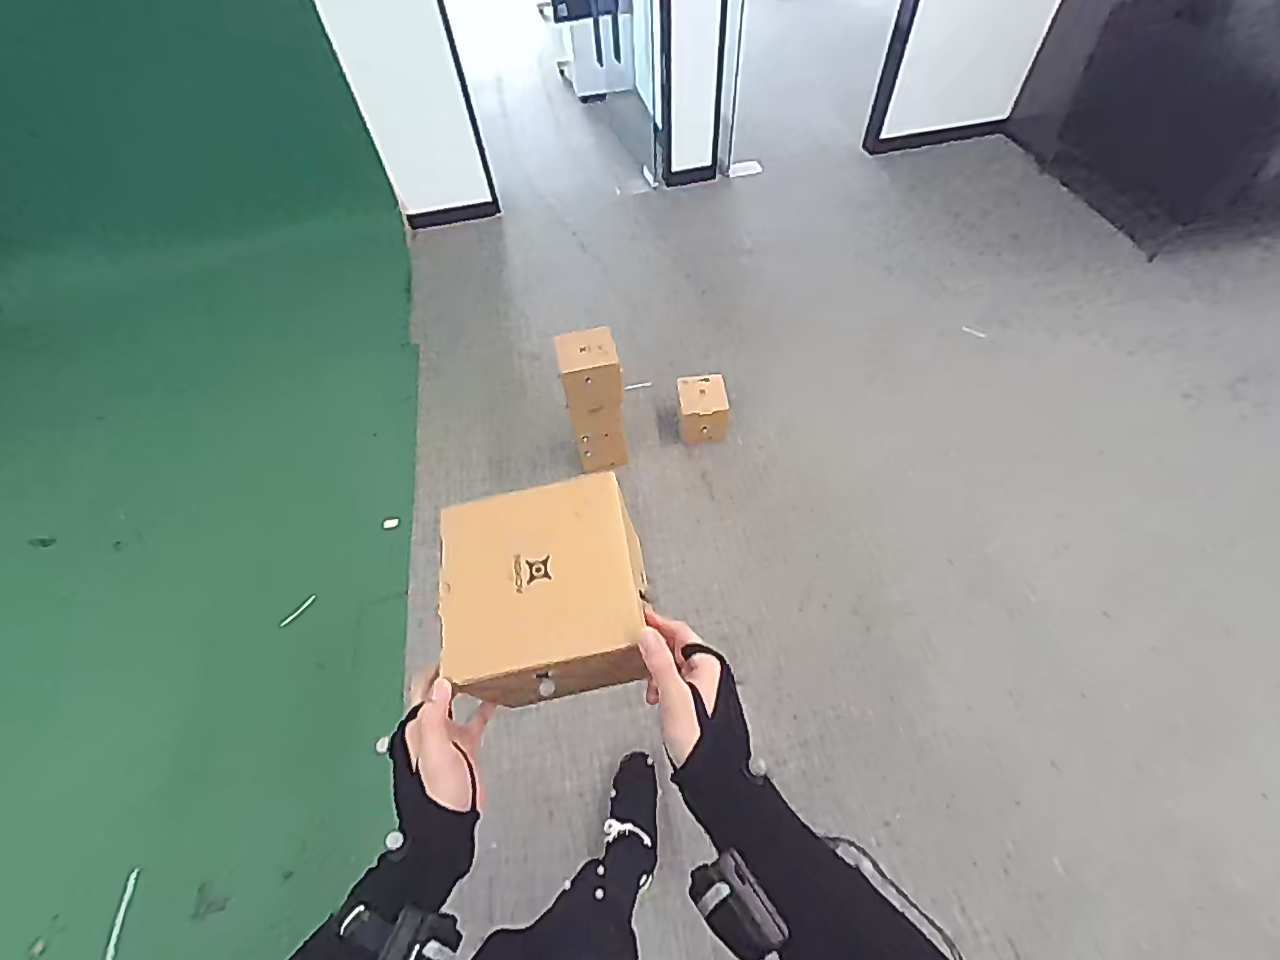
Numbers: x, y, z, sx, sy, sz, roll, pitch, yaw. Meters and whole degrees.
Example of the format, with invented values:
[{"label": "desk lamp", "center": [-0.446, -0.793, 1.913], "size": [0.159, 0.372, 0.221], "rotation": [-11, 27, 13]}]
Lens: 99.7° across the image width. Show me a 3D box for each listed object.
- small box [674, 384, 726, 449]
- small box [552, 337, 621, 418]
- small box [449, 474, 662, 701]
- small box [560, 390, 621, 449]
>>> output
[{"label": "small box", "center": [0.214, -0.225, 1.975], "size": [0.168, 0.176, 0.179], "rotation": [-5, 56, -1]}, {"label": "small box", "center": [-0.159, -0.308, 1.650], "size": [0.179, 0.176, 0.168], "rotation": [-12, 55, -6]}, {"label": "small box", "center": [-0.077, 0.119, 0.559], "size": [0.179, 0.176, 0.168], "rotation": [-13, 59, 2]}, {"label": "small box", "center": [-0.161, -0.220, 1.790], "size": [0.168, 0.176, 0.179], "rotation": [-13, 54, -7]}]
